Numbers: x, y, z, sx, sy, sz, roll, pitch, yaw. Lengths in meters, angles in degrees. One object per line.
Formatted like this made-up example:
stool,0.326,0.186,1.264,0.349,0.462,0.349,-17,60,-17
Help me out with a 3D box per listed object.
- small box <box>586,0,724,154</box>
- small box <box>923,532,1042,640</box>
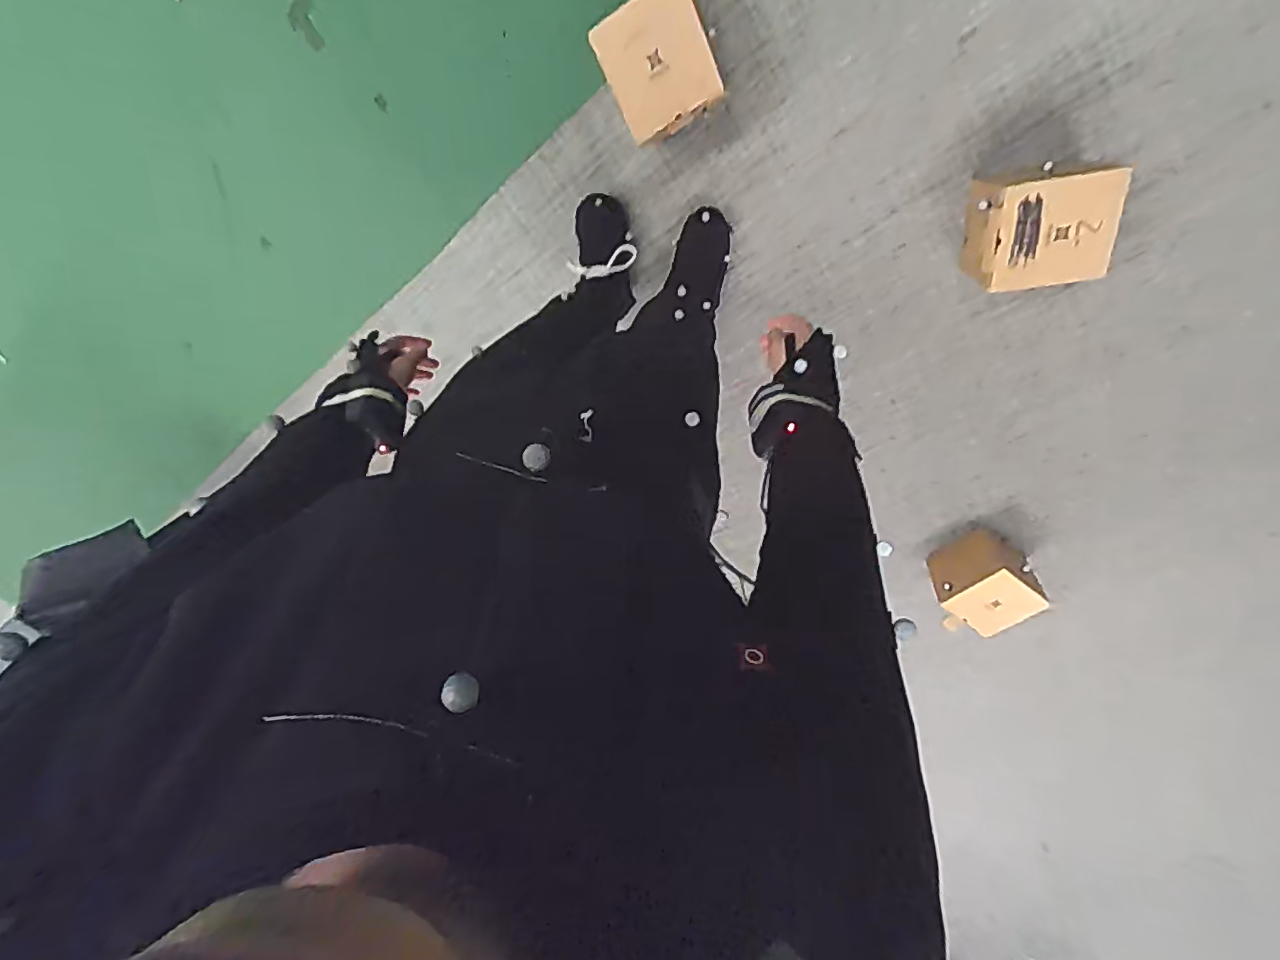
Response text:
small box,0.037,-0.696,0.929,0.168,0.176,0.179,-20,116,23
small box,0.856,0.264,1.372,0.168,0.176,0.179,34,125,-10
